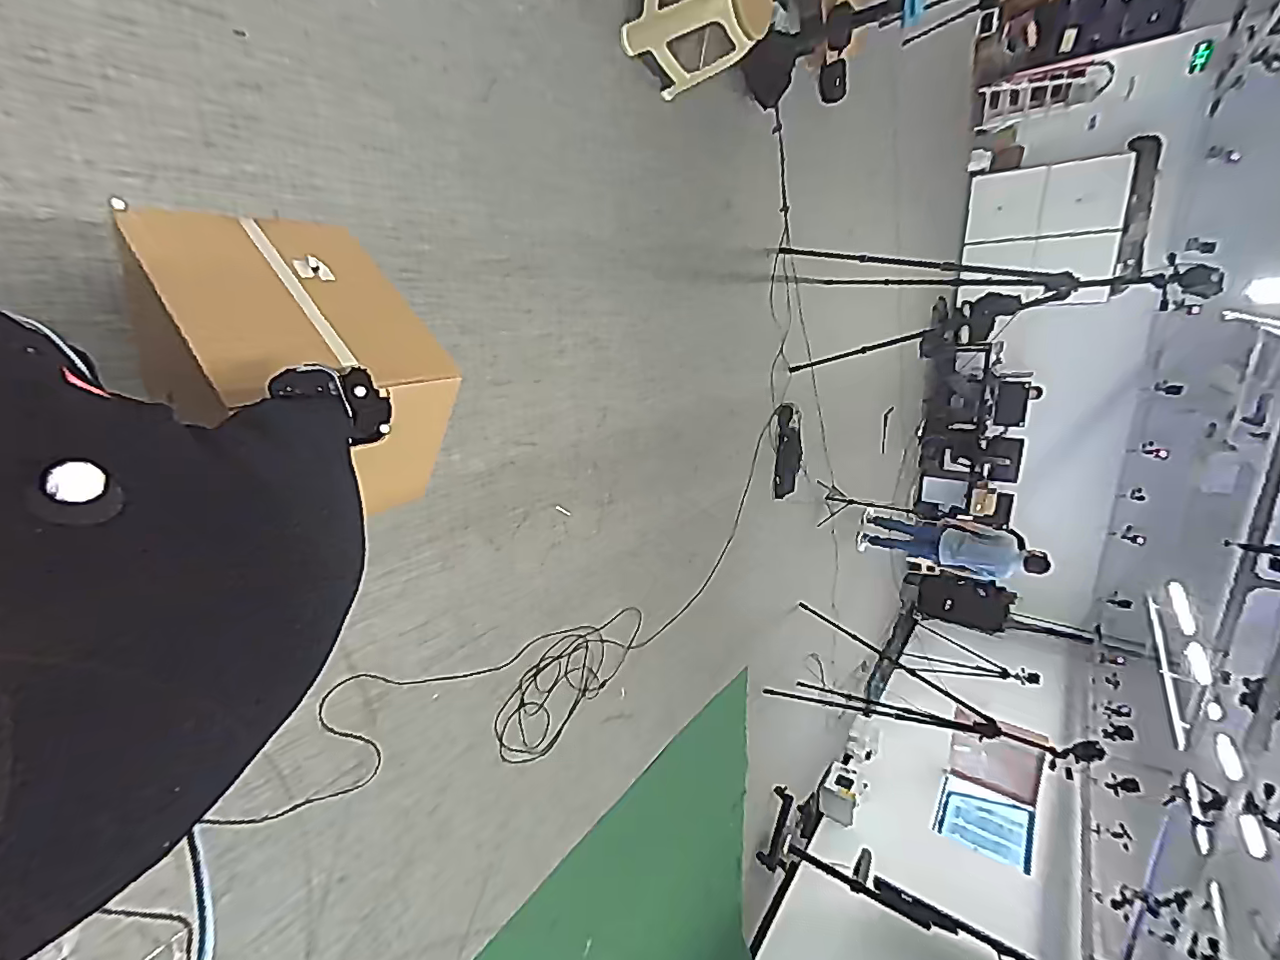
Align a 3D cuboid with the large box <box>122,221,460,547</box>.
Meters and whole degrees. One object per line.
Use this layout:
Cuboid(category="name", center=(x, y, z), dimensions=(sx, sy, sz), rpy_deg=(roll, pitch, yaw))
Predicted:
Cuboid(category="large box", center=(-0.569, -0.168, 0.904), dimensions=(0.320, 0.408, 0.320), rpy_deg=(-22, 154, -46))
